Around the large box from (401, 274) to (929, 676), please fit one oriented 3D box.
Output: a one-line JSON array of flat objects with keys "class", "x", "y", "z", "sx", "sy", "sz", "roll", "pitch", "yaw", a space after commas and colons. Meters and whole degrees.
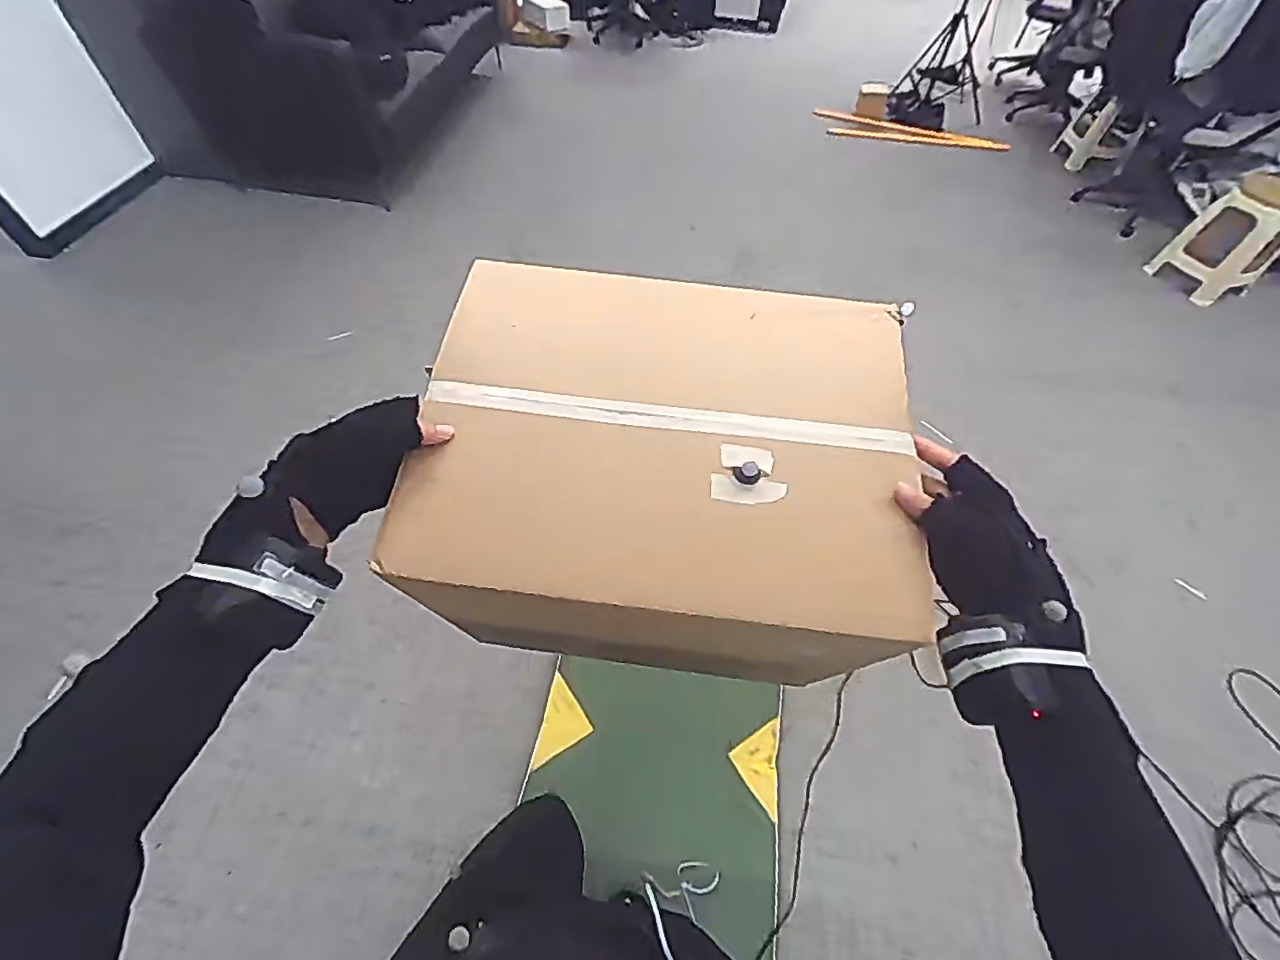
[{"class": "large box", "x": 0.025, "y": 0.017, "z": 0.598, "sx": 0.408, "sy": 0.320, "sz": 0.320, "roll": 7, "pitch": 64, "yaw": 1}]
